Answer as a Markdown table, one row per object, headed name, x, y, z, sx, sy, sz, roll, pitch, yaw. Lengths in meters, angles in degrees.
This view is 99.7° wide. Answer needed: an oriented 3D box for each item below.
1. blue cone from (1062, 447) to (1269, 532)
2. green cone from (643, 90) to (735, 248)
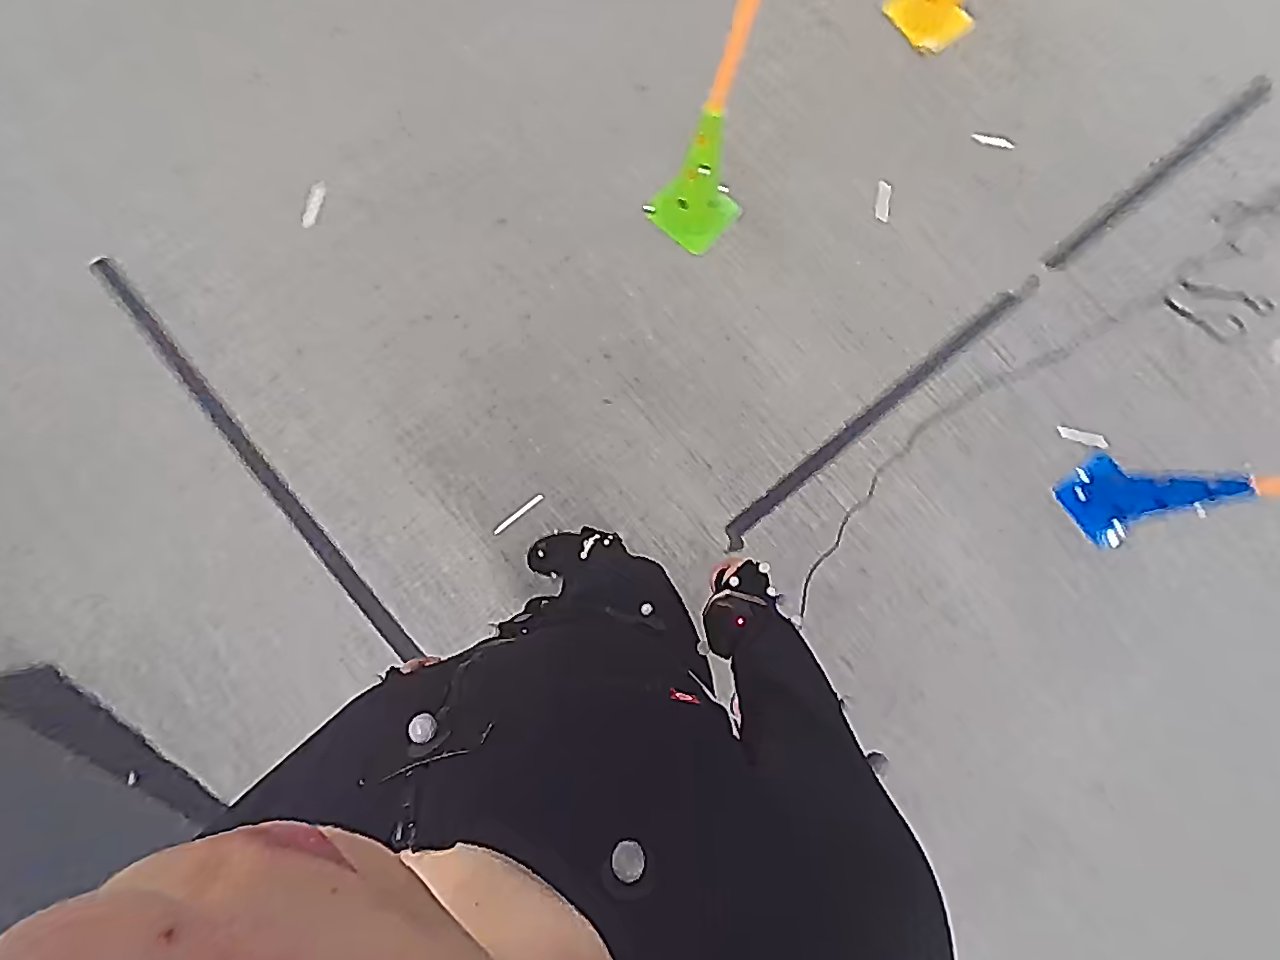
| name | x | y | z | sx | sy | sz | roll | pitch | yaw |
| --- | --- | --- | --- | --- | --- | --- | --- | --- | --- |
| blue cone | 1.260 | 0.005 | 1.296 | 0.192 | 0.380 | 0.193 | -37 | 86 | -7 |
| green cone | 0.148 | -0.786 | 1.331 | 0.200 | 0.368 | 0.202 | 39 | 80 | 2 |
